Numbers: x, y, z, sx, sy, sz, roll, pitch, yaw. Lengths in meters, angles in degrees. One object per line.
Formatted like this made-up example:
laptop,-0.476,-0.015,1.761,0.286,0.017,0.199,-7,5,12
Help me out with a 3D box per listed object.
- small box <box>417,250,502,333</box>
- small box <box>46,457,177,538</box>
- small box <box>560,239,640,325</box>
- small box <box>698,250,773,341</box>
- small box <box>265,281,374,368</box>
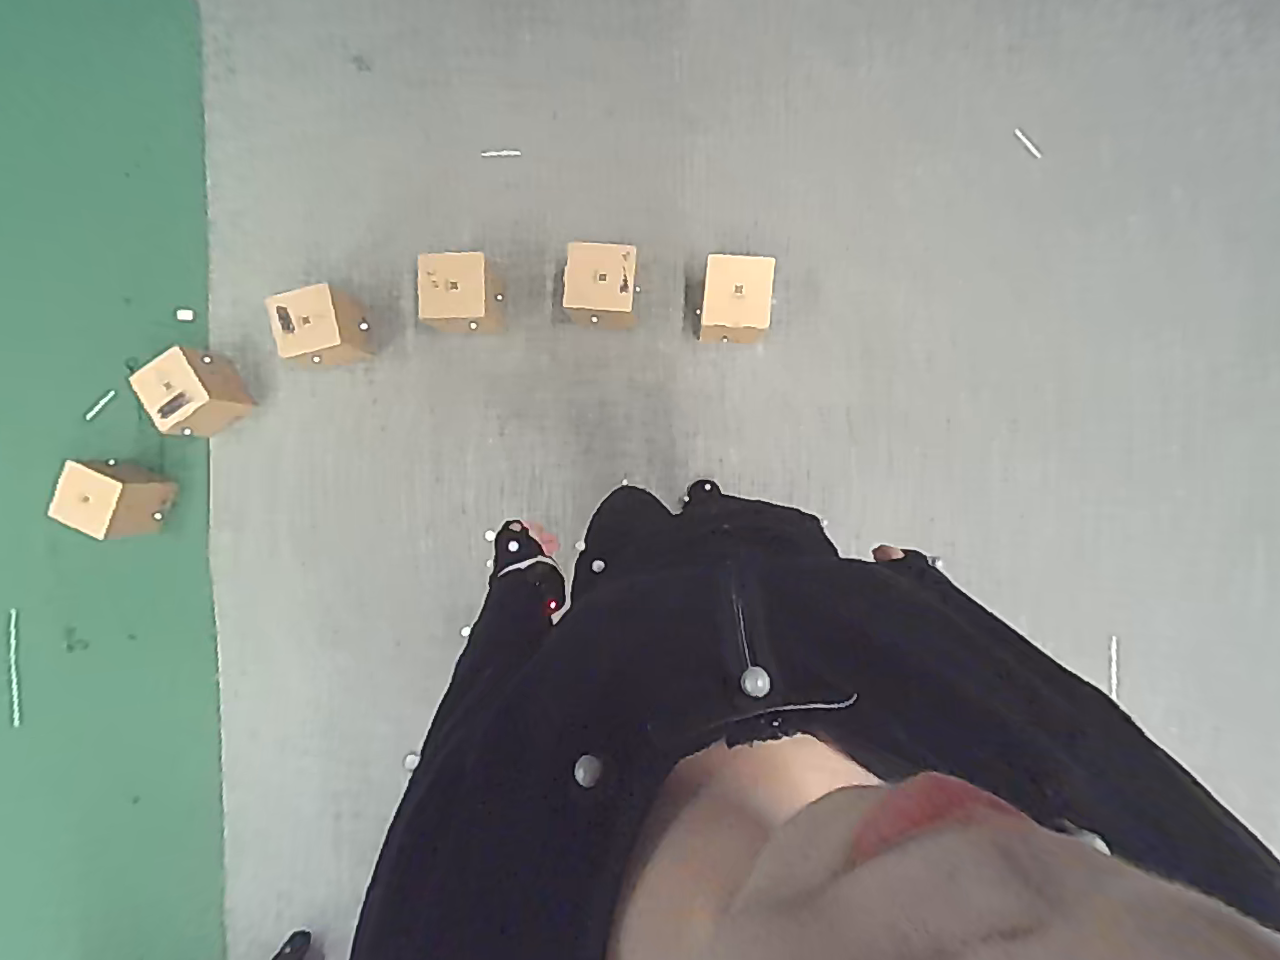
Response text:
small box,-0.473,-0.496,1.439,0.179,0.176,0.168,0,90,4
small box,-1.472,0.048,1.515,0.179,0.176,0.168,23,93,3
small box,-0.099,-0.511,1.416,0.179,0.176,0.168,5,92,4
small box,0.240,-0.470,1.398,0.168,0.176,0.179,4,92,3
small box,-0.861,-0.414,1.465,0.179,0.176,0.168,-13,90,3
